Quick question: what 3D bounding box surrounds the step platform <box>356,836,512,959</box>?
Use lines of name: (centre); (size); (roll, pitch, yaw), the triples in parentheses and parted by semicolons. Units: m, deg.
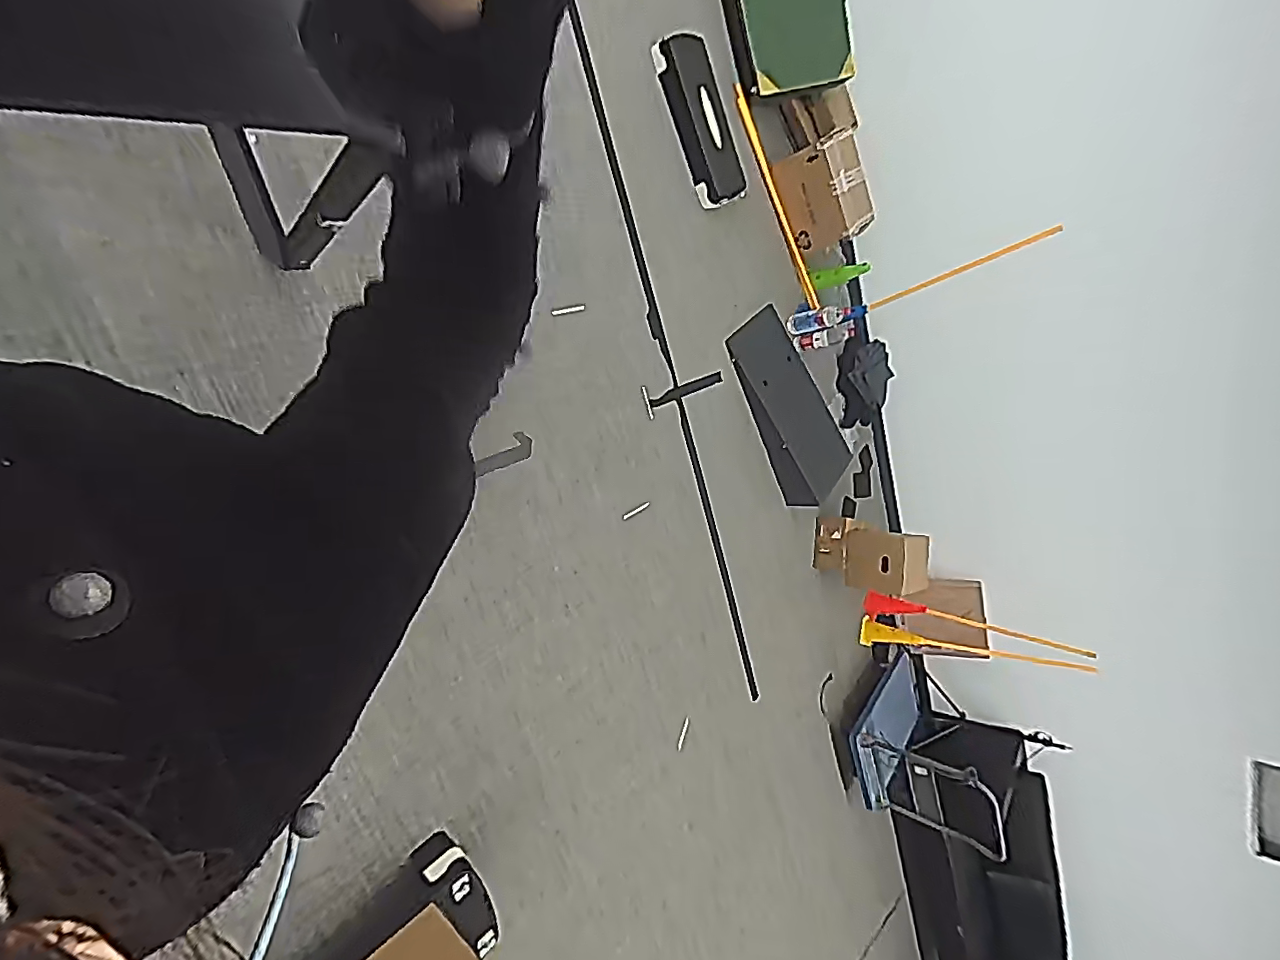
step platform: (-0.654, 1.250, 1.336); (0.684, 0.204, 0.286); (-21, 103, -44)

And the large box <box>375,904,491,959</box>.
large box: (-0.498, 1.261, 1.155); (0.408, 0.320, 0.320); (-24, 106, -43)
